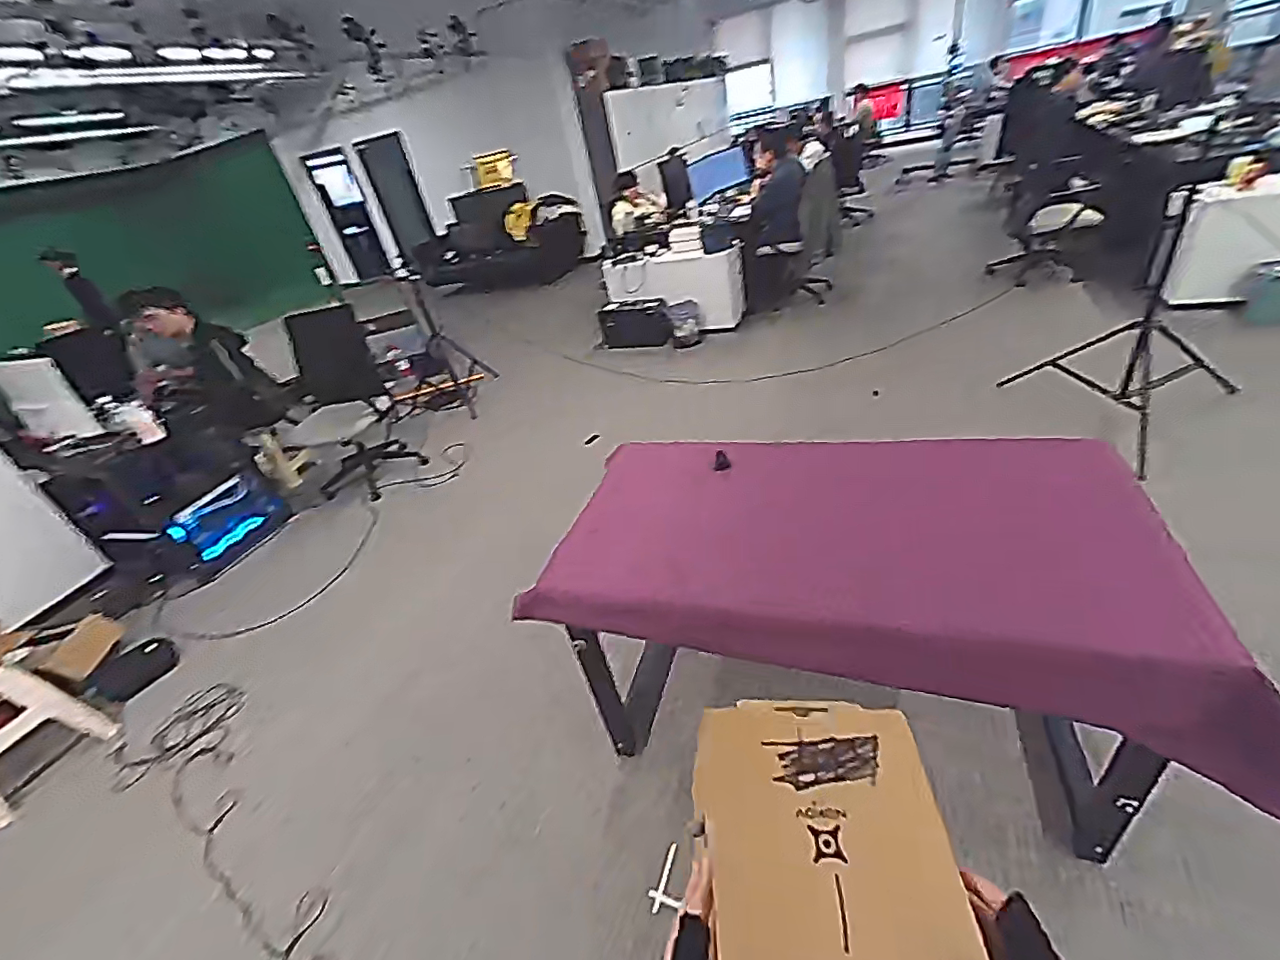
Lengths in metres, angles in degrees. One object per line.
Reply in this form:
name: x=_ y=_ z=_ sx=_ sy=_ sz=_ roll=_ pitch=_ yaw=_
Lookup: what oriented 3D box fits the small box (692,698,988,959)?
small box: x=0.129 y=0.298 z=0.432 sx=0.168 sy=0.176 sz=0.179 roll=-1 pitch=41 yaw=2
